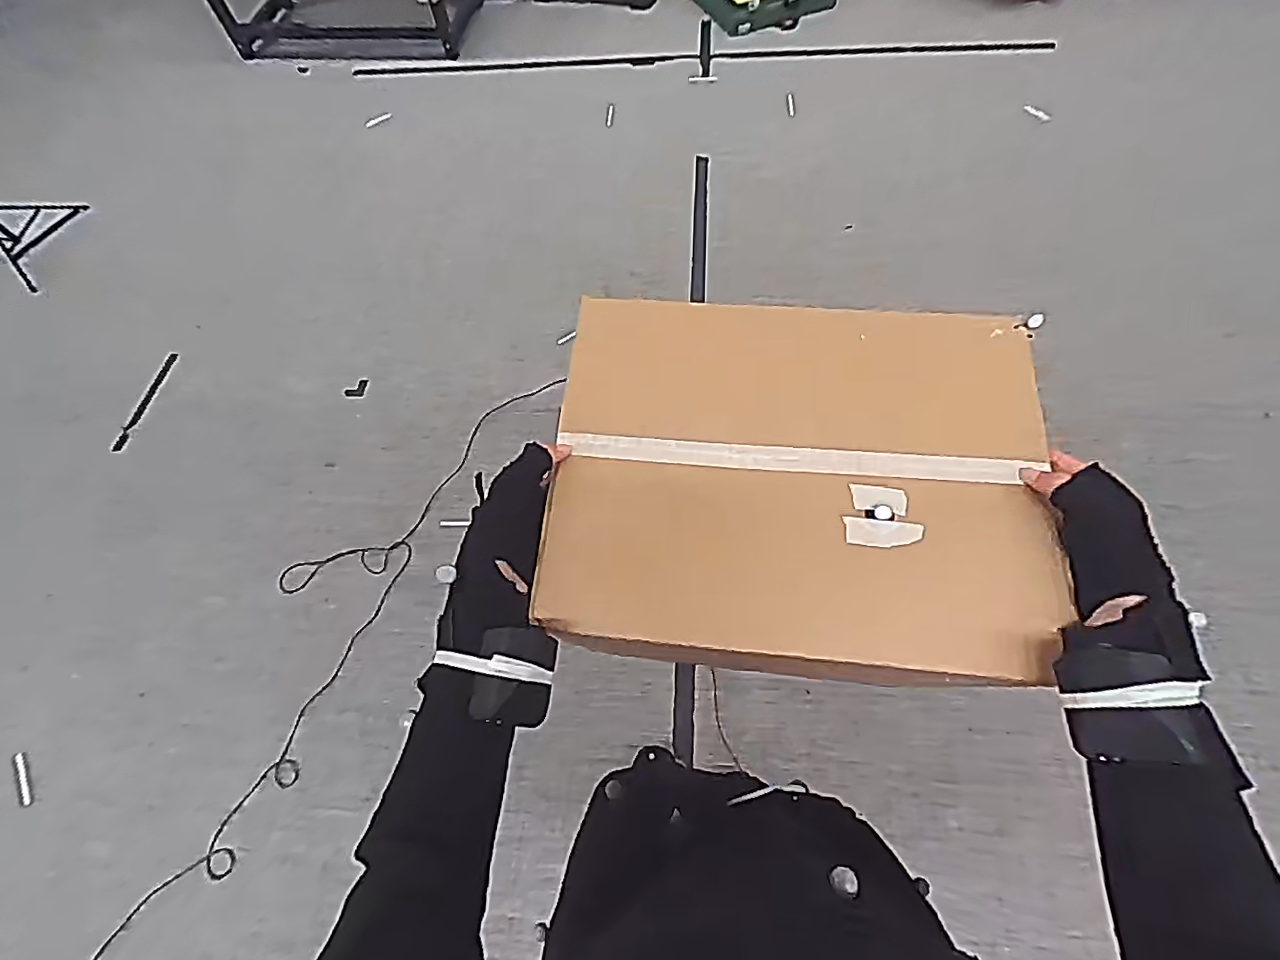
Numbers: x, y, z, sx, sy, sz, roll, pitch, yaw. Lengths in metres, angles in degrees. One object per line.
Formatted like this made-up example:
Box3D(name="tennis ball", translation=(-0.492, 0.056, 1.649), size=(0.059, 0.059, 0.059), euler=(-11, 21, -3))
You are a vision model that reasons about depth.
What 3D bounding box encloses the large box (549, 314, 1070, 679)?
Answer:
Box3D(name="large box", translation=(0.141, 0.042, 0.605), size=(0.408, 0.320, 0.320), euler=(4, 70, 5))
